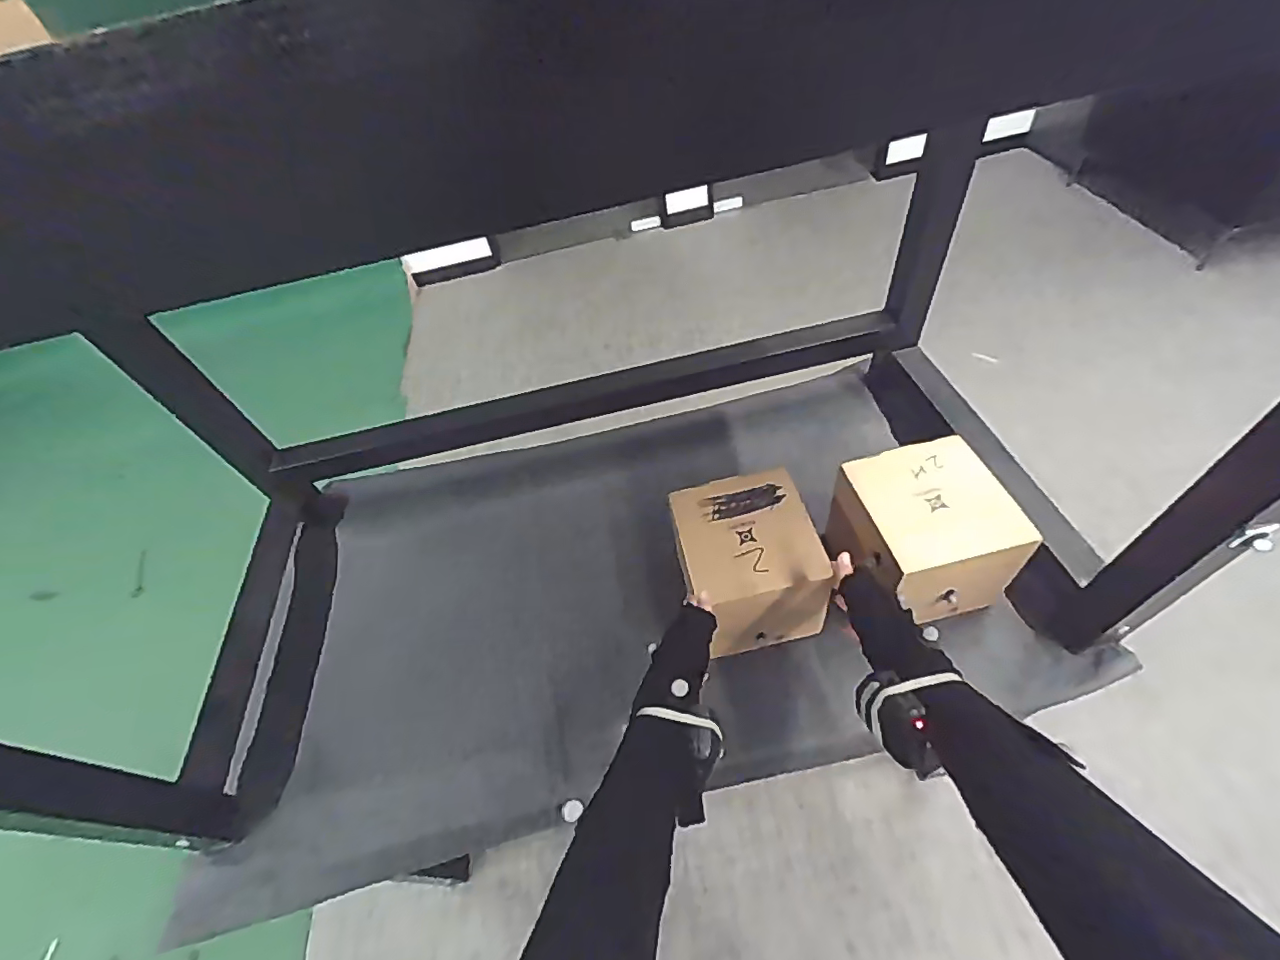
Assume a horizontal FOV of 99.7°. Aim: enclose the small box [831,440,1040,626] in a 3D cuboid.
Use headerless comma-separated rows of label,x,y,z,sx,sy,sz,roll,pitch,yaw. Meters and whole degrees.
small box,0.375,0.079,0.728,0.168,0.176,0.179,-14,50,-1
